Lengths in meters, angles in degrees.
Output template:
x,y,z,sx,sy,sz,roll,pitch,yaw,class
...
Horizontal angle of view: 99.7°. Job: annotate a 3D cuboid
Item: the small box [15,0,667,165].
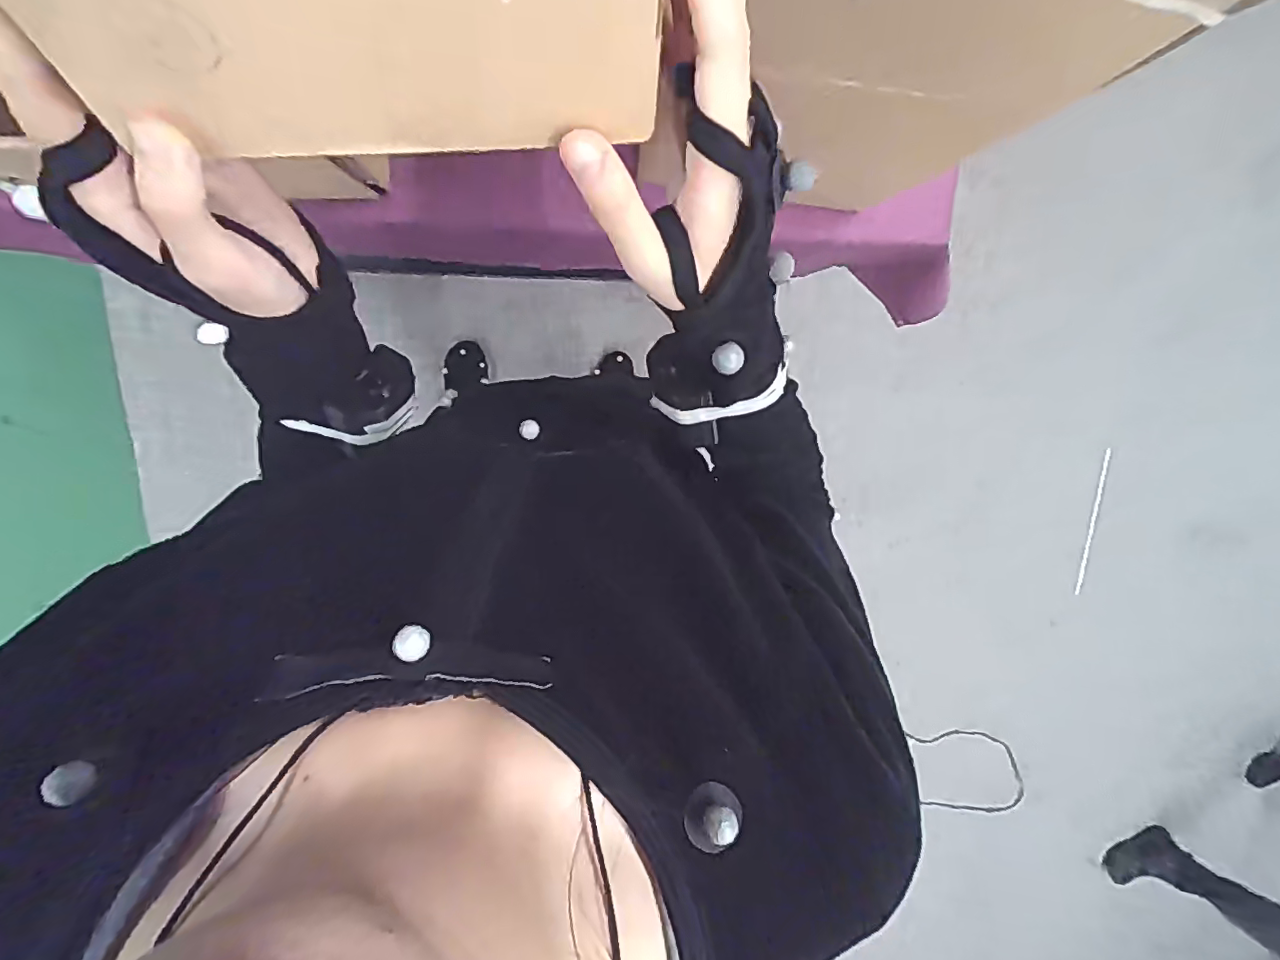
x,y,z,sx,sy,sz,roll,pitch,yaw,class
-0.084,-0.219,0.146,0.179,0.168,0.176,-5,68,-5,small box
